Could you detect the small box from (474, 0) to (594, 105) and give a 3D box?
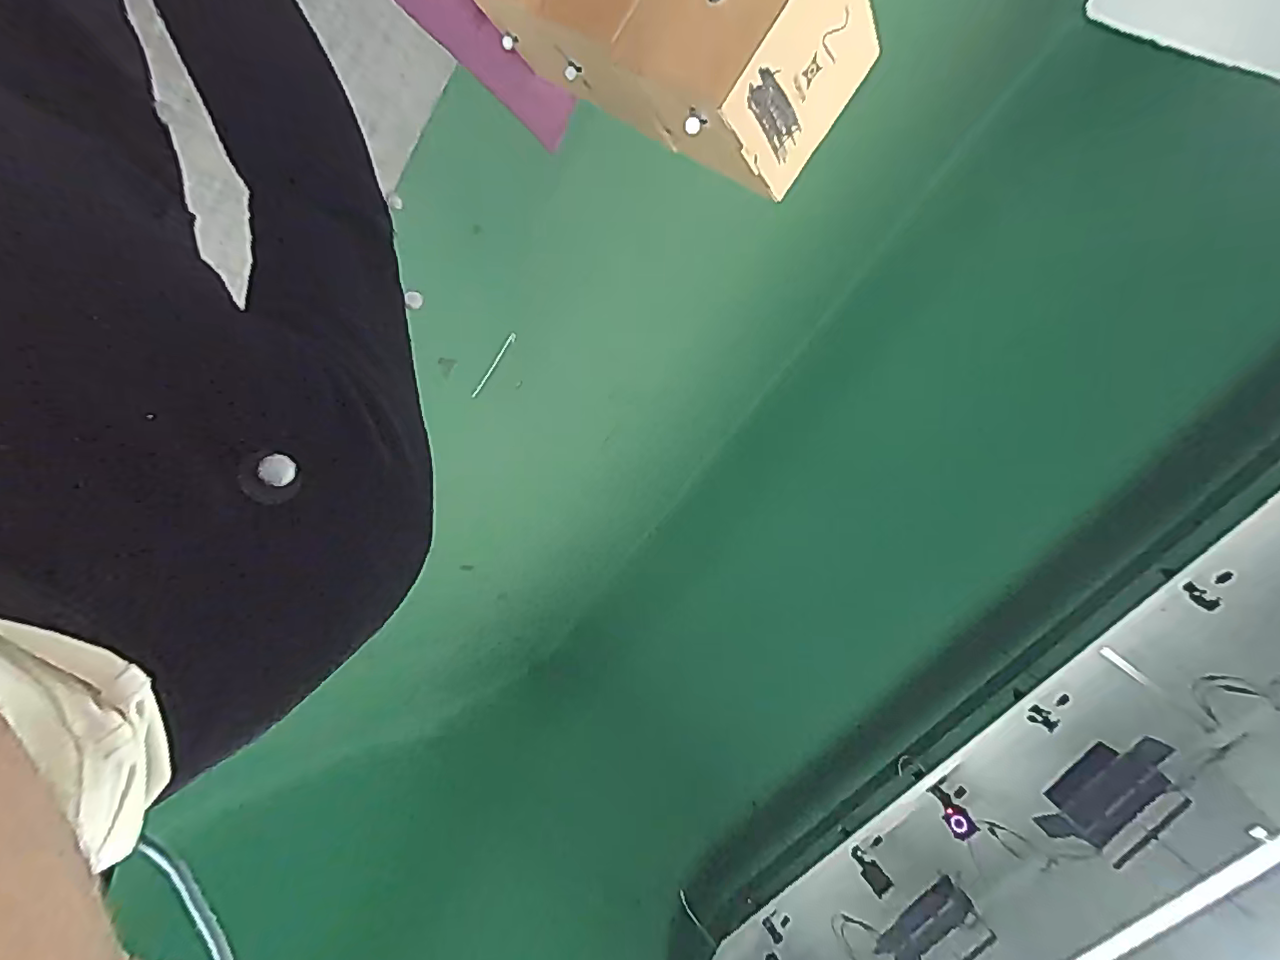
[{"bbox_3d":[-0.107,-0.651,0.706,0.168,0.176,0.179,-52,154,14],"label":"small box"}]

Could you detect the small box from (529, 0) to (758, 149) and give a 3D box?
[{"bbox_3d":[0.002,-0.548,0.637,0.179,0.176,0.168,-51,153,14],"label":"small box"}]
